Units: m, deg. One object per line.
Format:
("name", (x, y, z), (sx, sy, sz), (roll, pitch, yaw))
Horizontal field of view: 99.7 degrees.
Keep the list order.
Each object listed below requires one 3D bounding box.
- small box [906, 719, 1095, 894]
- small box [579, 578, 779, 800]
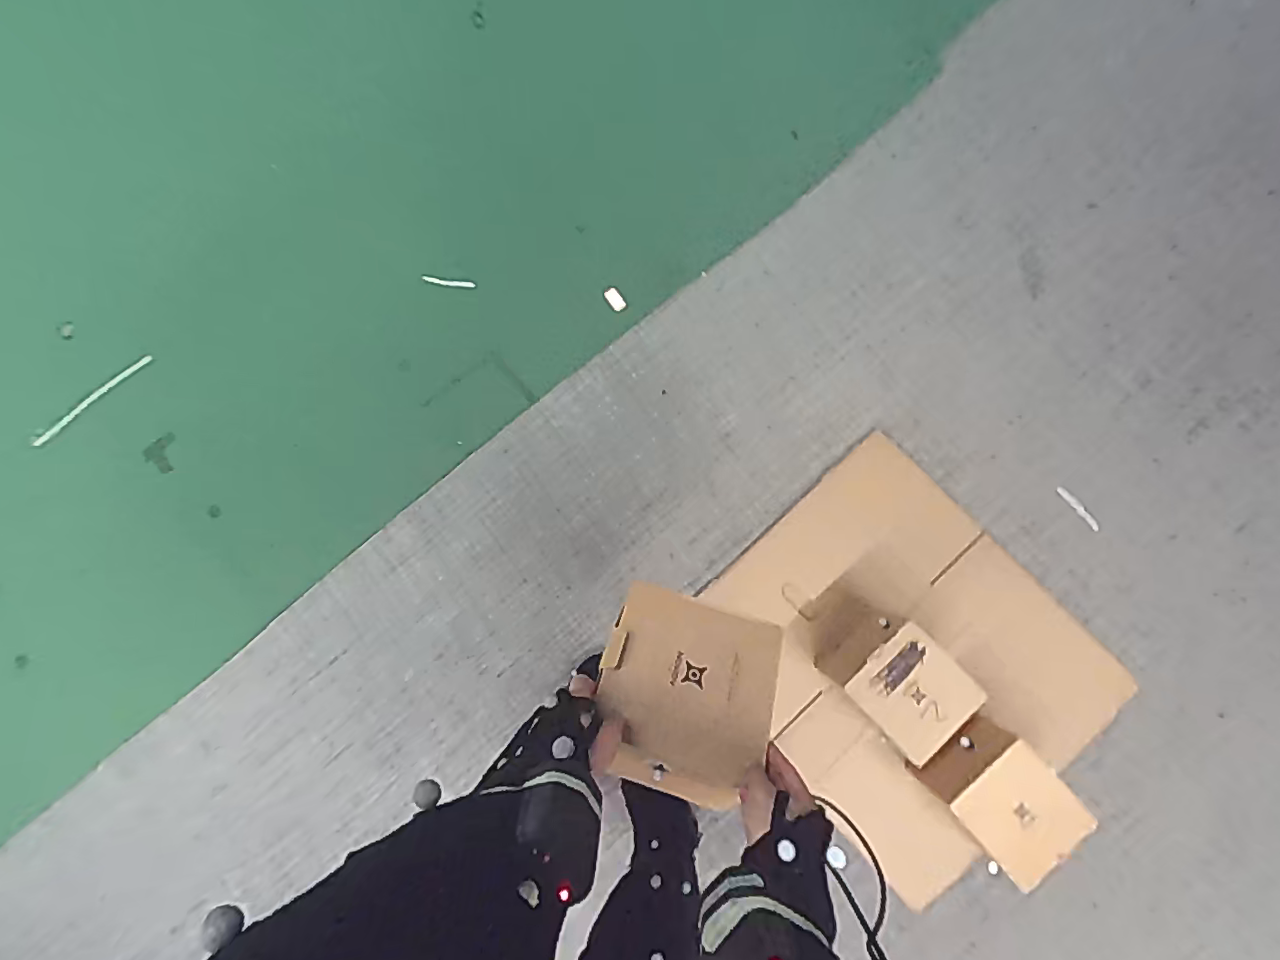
("small box", (0.606, 0.544, 0.938), (0.168, 0.176, 0.179), (-41, 83, -3))
("small box", (0.038, 0.239, 0.605), (0.179, 0.176, 0.168), (16, 54, 4))
